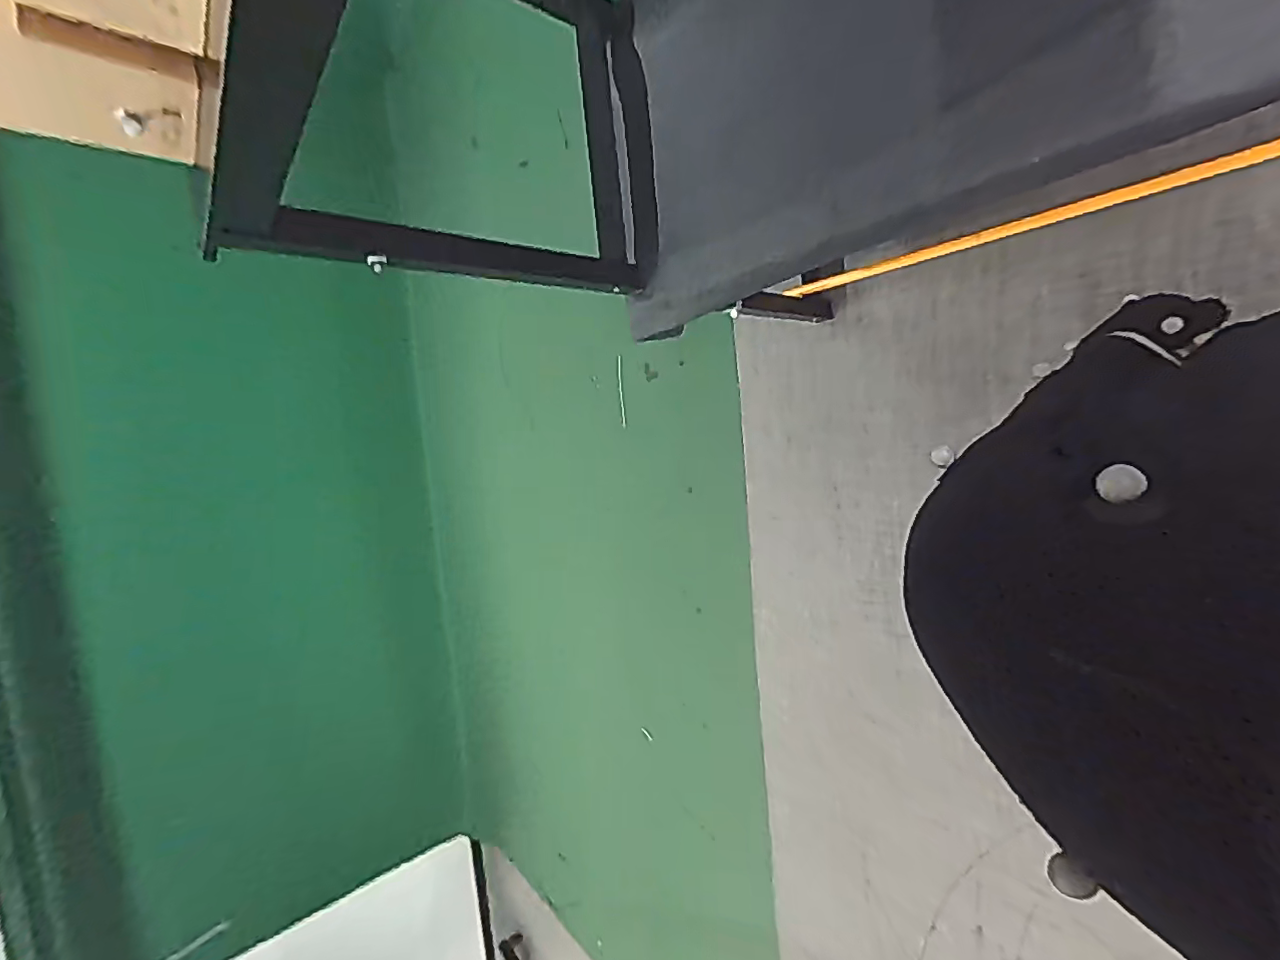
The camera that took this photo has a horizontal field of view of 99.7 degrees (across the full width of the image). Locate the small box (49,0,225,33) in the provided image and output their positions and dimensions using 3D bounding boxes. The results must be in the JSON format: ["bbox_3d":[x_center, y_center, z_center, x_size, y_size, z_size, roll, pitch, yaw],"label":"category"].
[{"bbox_3d":[-0.368,-0.429,0.336,0.168,0.176,0.179,1,98,50],"label":"small box"}]

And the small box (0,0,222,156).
[{"bbox_3d":[-0.516,-0.443,0.506,0.168,0.176,0.179,1,99,50],"label":"small box"}]
